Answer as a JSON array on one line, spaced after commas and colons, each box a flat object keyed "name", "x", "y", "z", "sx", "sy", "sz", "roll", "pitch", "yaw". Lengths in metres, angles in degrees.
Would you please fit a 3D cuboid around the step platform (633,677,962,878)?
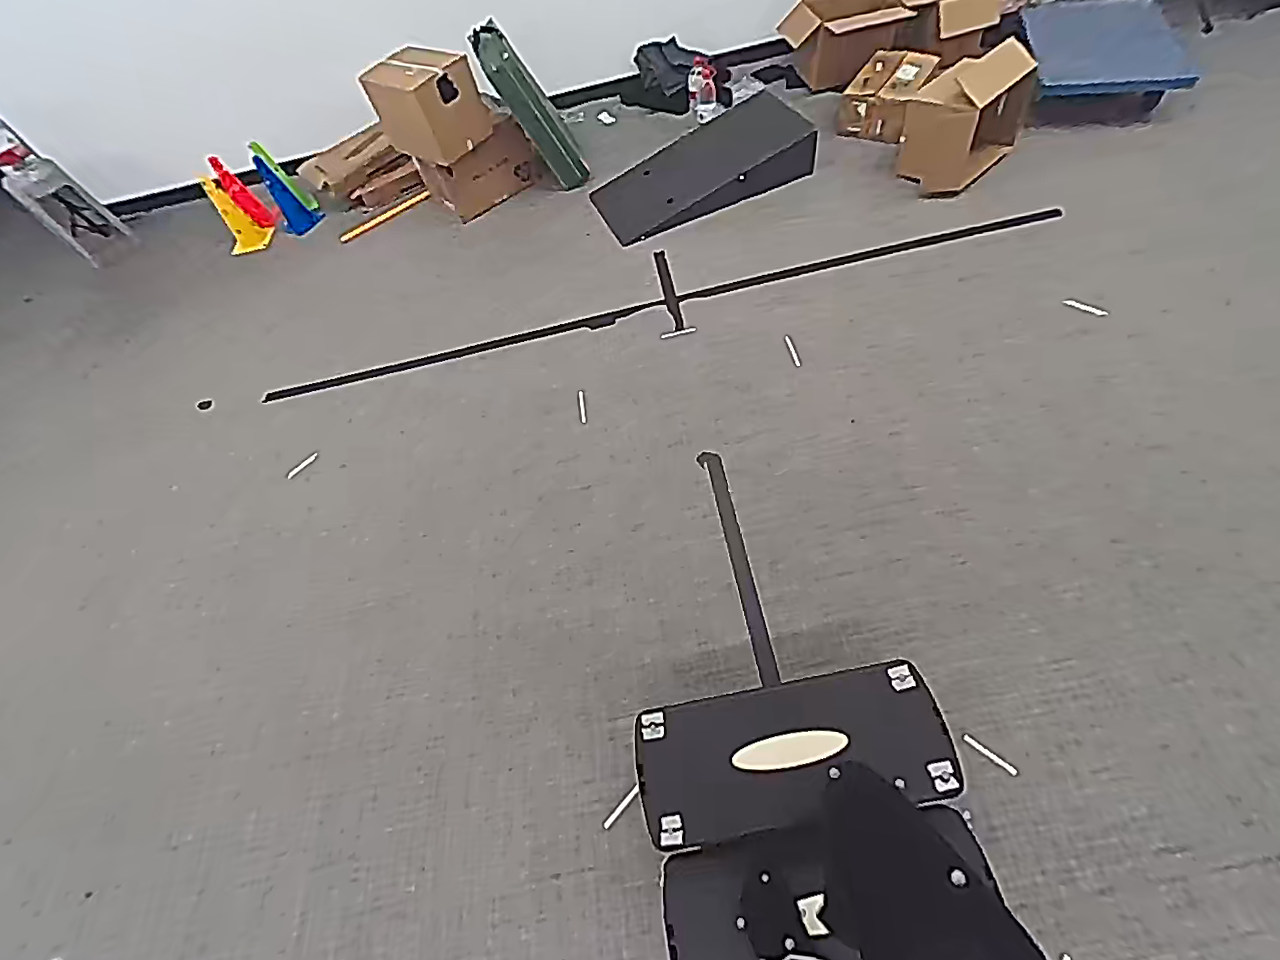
[{"name": "step platform", "x": 0.326, "y": 0.660, "z": 1.216, "sx": 0.684, "sy": 0.204, "sz": 0.286, "roll": -13, "pitch": 57, "yaw": 1}]
